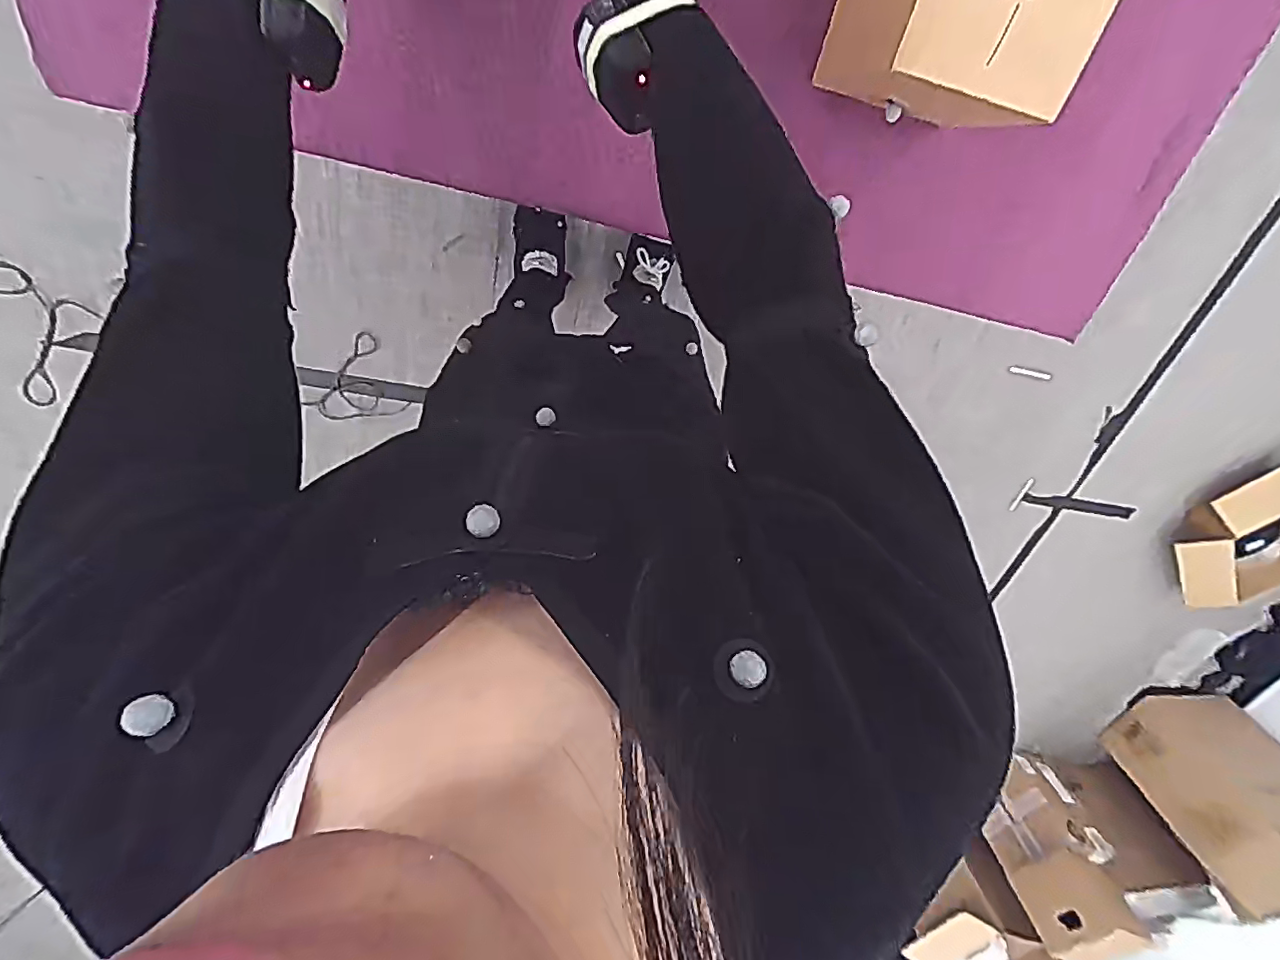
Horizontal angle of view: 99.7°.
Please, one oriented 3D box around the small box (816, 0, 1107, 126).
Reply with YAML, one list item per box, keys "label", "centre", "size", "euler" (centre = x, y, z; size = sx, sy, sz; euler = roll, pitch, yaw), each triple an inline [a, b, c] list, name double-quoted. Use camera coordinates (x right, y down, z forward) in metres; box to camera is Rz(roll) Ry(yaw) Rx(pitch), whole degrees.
- label: "small box"
  centre: [0.283, -0.437, 0.479]
  size: [0.168, 0.176, 0.179]
  euler: [7, 122, -13]
